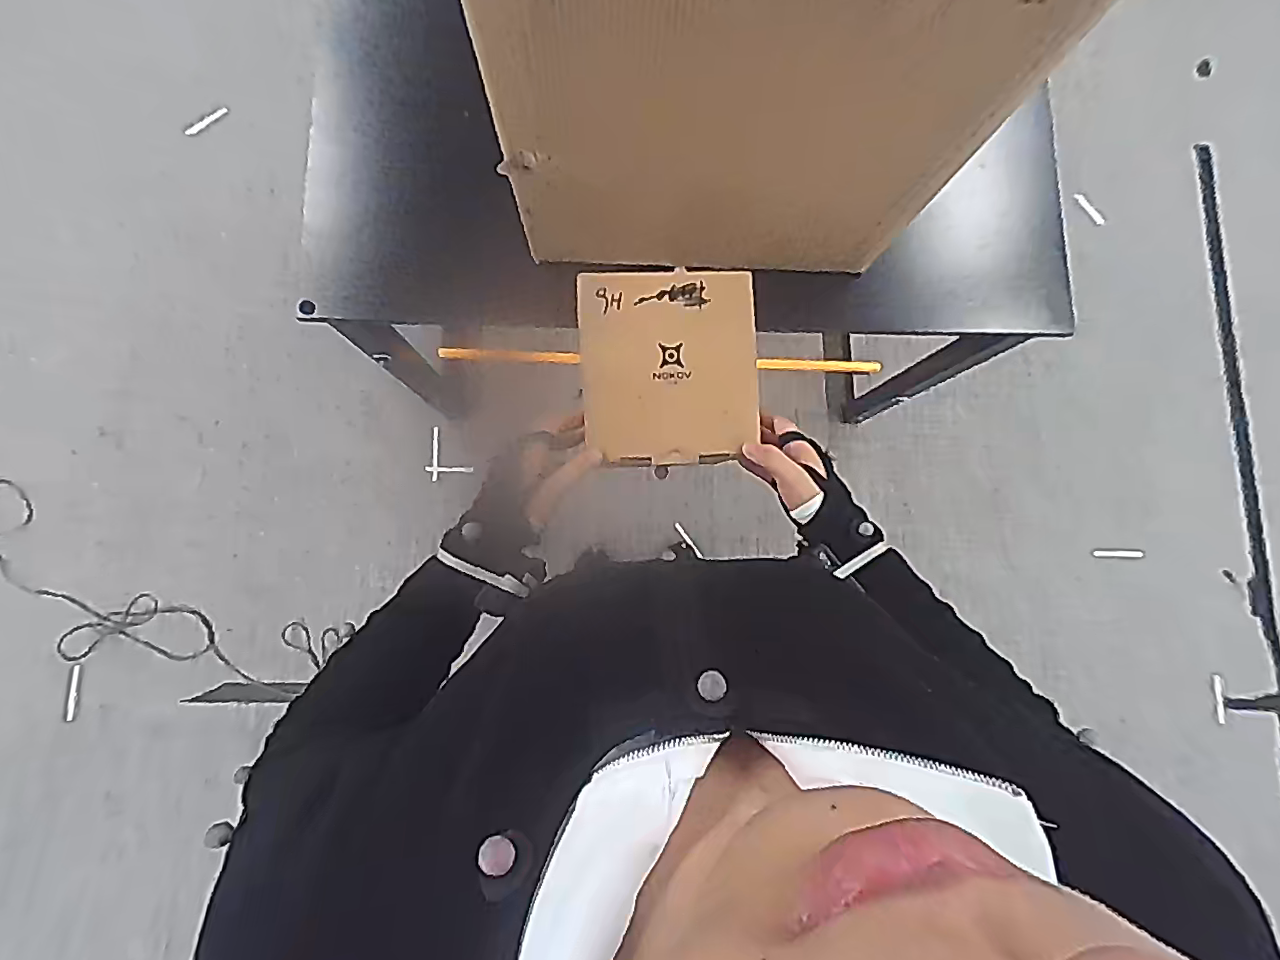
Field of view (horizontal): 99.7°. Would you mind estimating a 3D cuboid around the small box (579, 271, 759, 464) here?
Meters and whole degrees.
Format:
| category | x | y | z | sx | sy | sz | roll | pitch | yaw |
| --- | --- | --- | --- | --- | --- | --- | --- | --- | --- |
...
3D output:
| category | x | y | z | sx | sy | sz | roll | pitch | yaw |
| --- | --- | --- | --- | --- | --- | --- | --- | --- | --- |
| small box | 0.022 | -0.107 | 0.579 | 0.168 | 0.176 | 0.179 | -3 | 90 | -6 |
